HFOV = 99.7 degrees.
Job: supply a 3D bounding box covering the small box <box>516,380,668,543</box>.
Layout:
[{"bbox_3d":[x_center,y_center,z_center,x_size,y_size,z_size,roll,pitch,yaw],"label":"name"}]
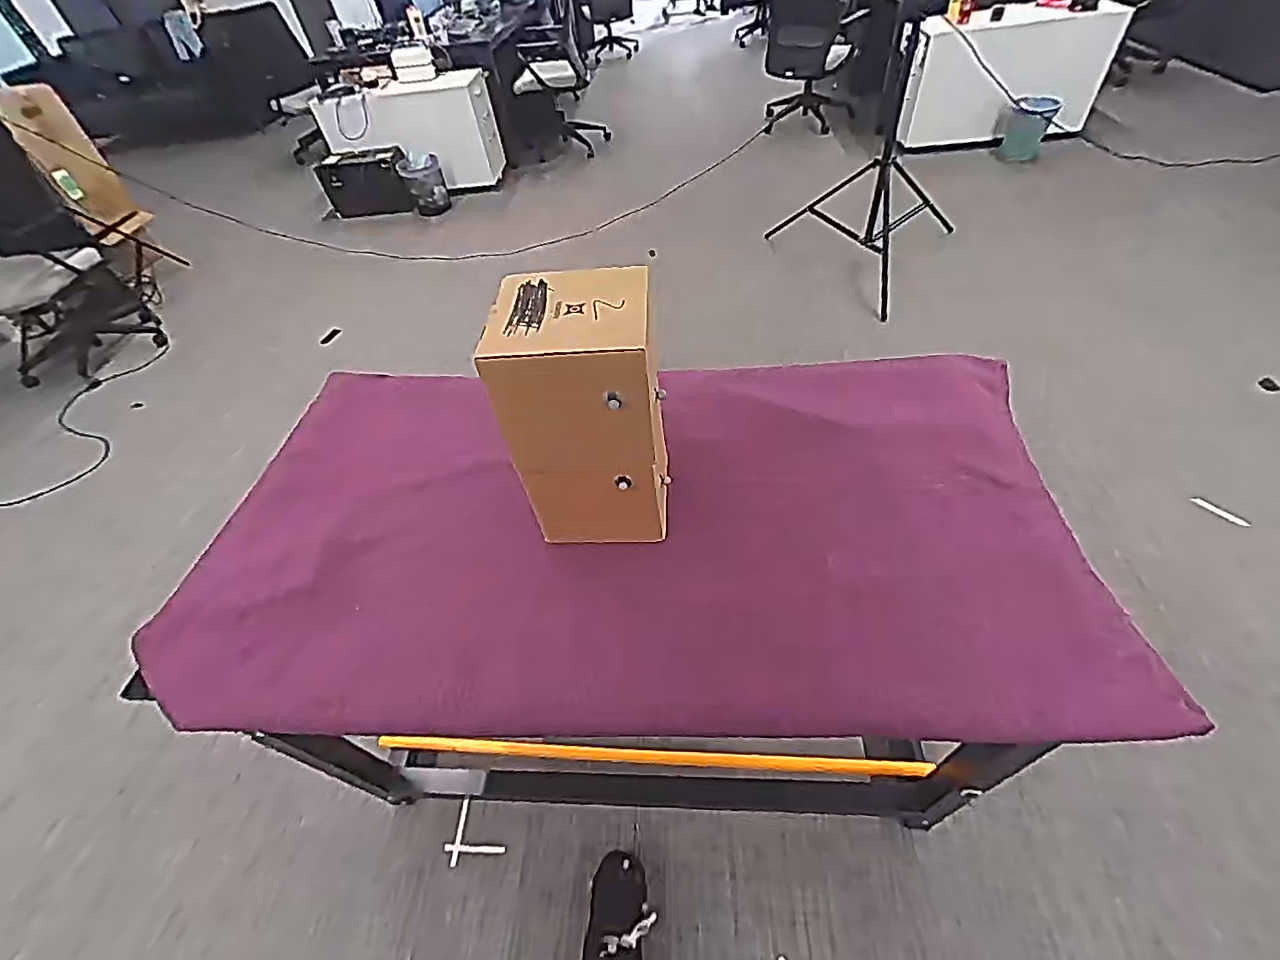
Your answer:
[{"bbox_3d":[-0.055,-0.022,0.769,0.179,0.176,0.168,-1,48,6],"label":"small box"}]
